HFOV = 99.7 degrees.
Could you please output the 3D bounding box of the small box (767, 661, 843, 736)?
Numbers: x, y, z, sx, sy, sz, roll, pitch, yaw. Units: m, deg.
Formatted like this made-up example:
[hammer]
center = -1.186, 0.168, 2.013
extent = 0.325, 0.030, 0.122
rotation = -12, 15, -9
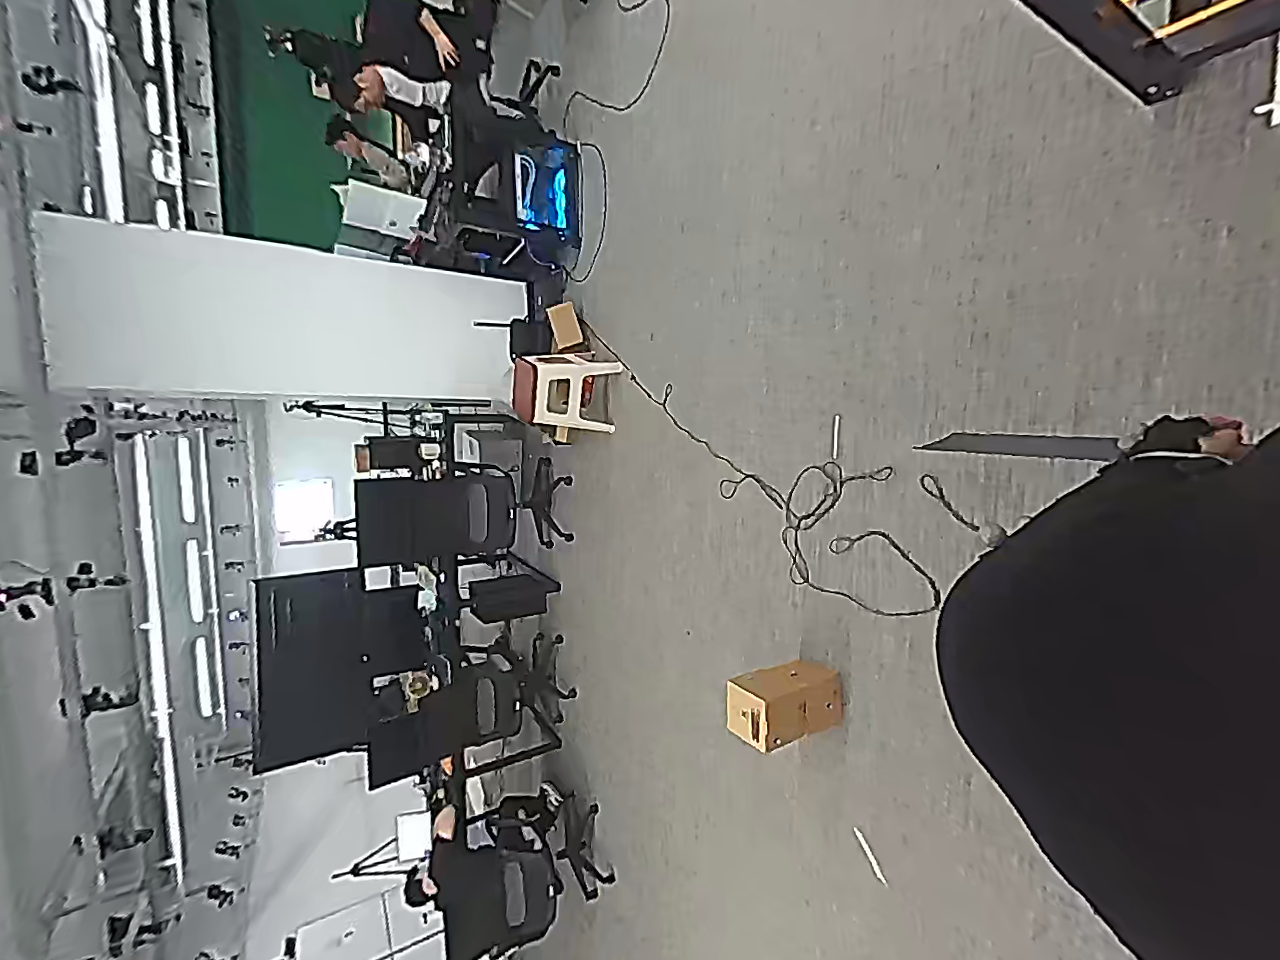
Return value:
[small box]
center = 0.546, 0.713, 1.789
extent = 0.179, 0.176, 0.168
rotation = -2, 92, 58
